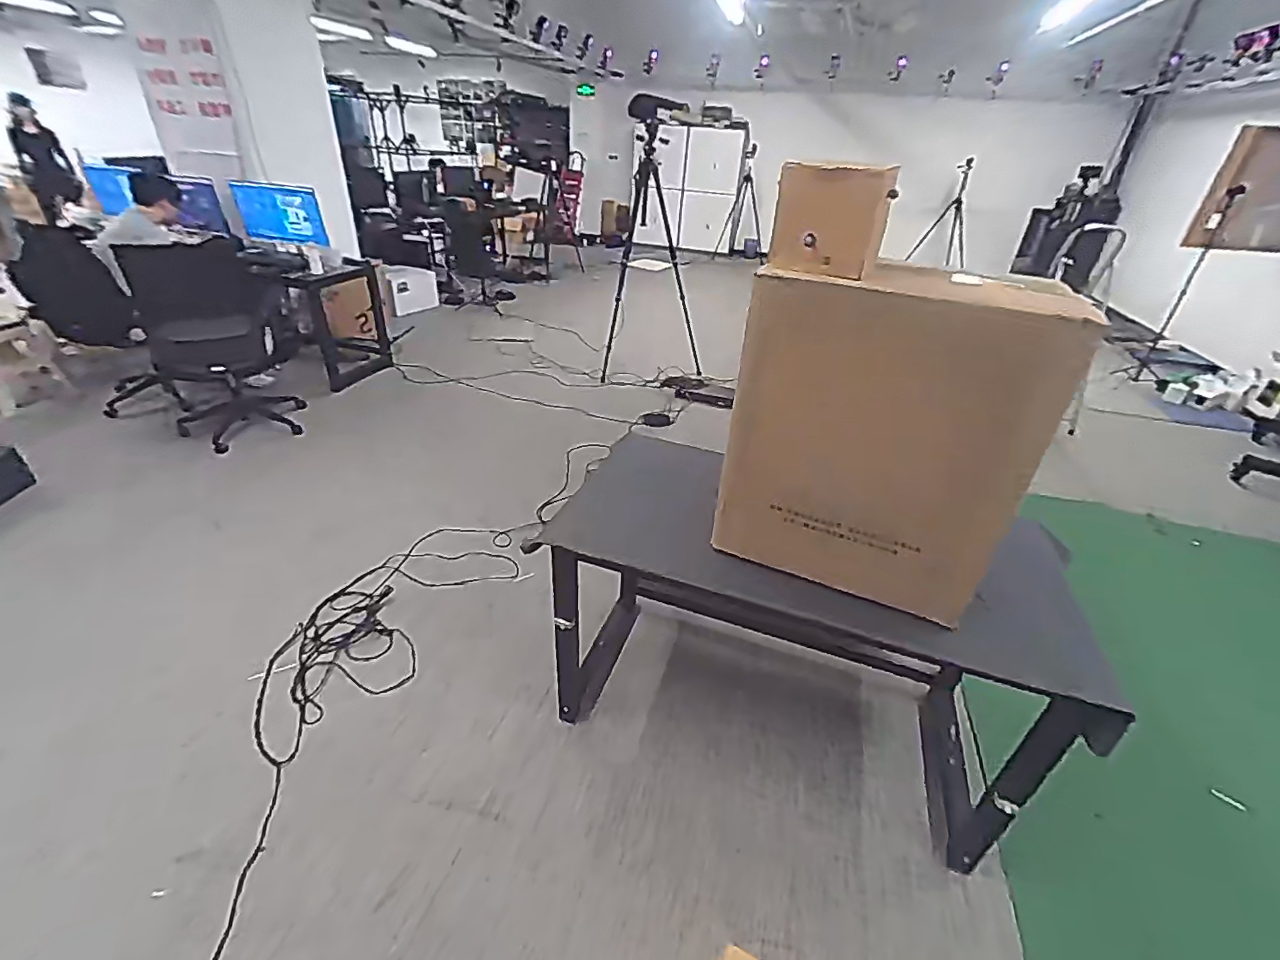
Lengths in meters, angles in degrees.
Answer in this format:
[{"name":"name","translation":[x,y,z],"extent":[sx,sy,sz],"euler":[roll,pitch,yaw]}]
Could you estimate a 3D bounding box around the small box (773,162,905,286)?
[{"name":"small box","translation":[0.348,-0.457,0.957],"extent":[0.168,0.176,0.179],"euler":[19,37,22]}]
